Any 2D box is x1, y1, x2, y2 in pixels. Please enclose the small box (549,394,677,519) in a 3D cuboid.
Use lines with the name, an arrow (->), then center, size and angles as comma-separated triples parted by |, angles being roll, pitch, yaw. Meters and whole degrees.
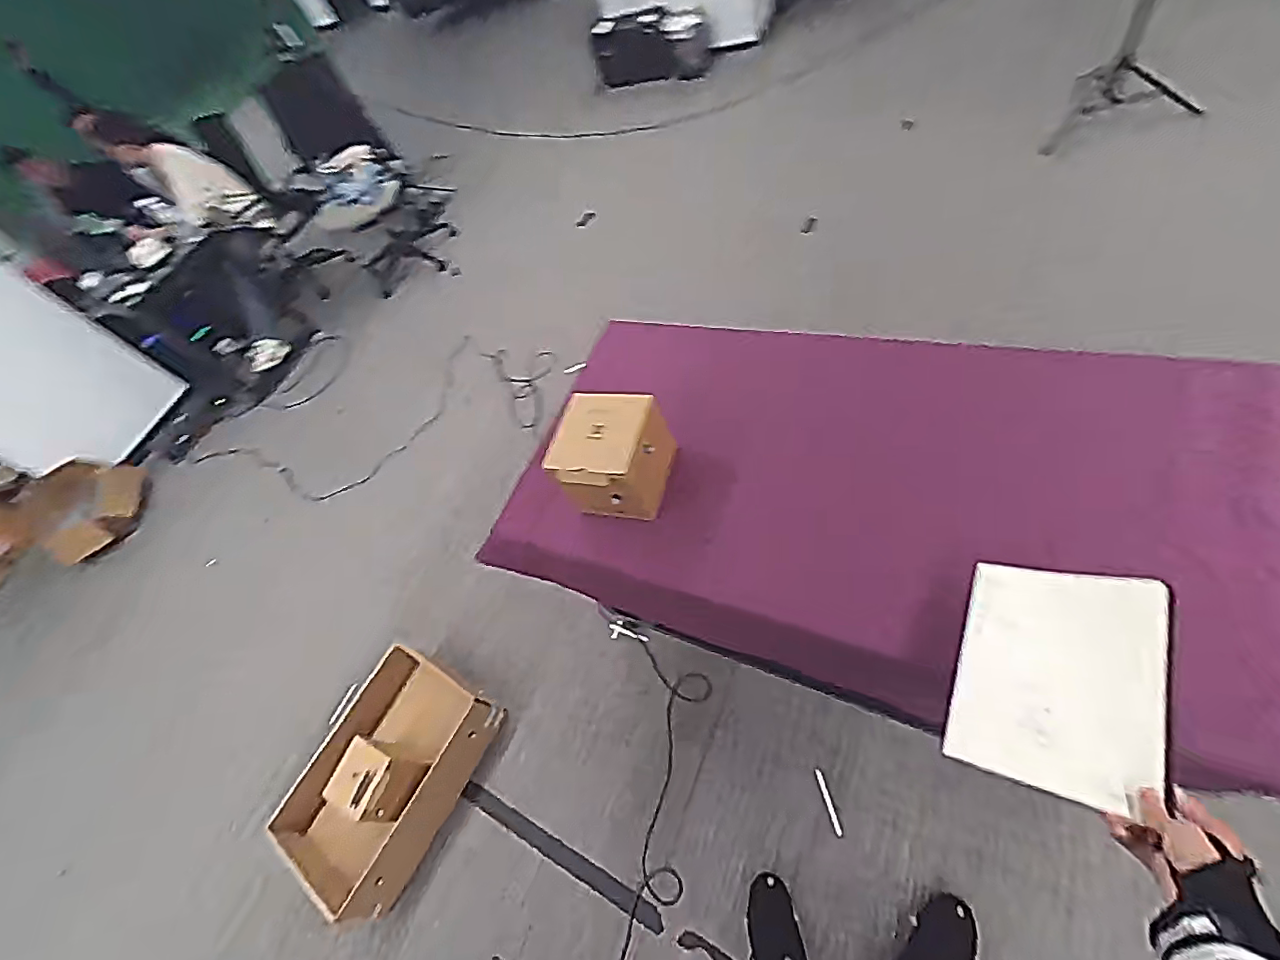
small box -> -0.041, -0.042, 1.030 | 0.168, 0.176, 0.179 | 6, 61, 25
